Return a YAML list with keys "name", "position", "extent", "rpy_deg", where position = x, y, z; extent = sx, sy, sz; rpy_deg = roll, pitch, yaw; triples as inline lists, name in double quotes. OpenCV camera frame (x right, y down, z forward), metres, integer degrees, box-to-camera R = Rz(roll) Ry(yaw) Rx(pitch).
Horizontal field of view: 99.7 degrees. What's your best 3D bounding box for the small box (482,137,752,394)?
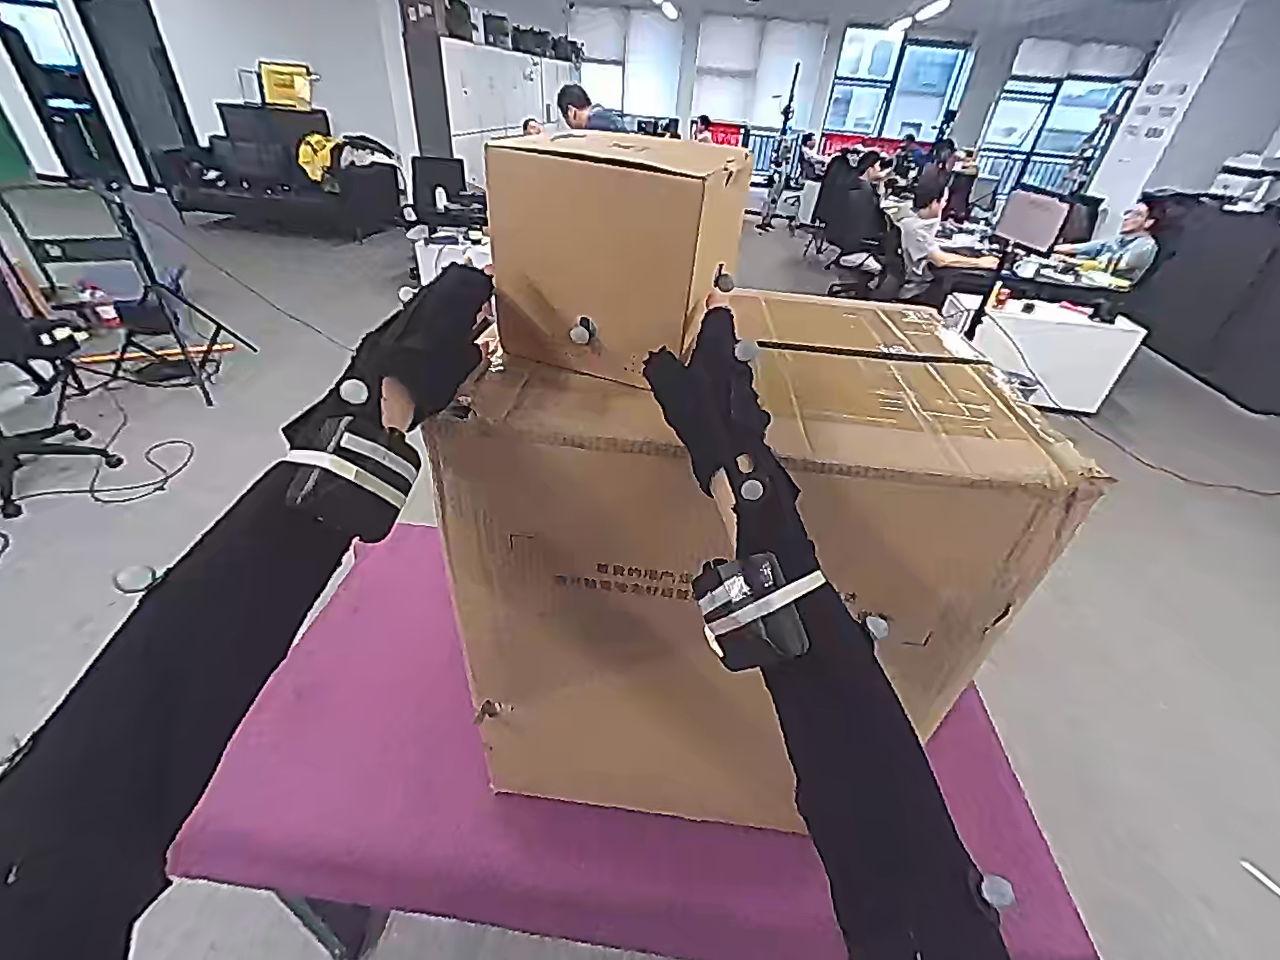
- name: "small box"
  position: [-0.016, -0.195, 0.488]
  extent: [0.179, 0.176, 0.168]
  rpy_deg: [17, 38, 14]
